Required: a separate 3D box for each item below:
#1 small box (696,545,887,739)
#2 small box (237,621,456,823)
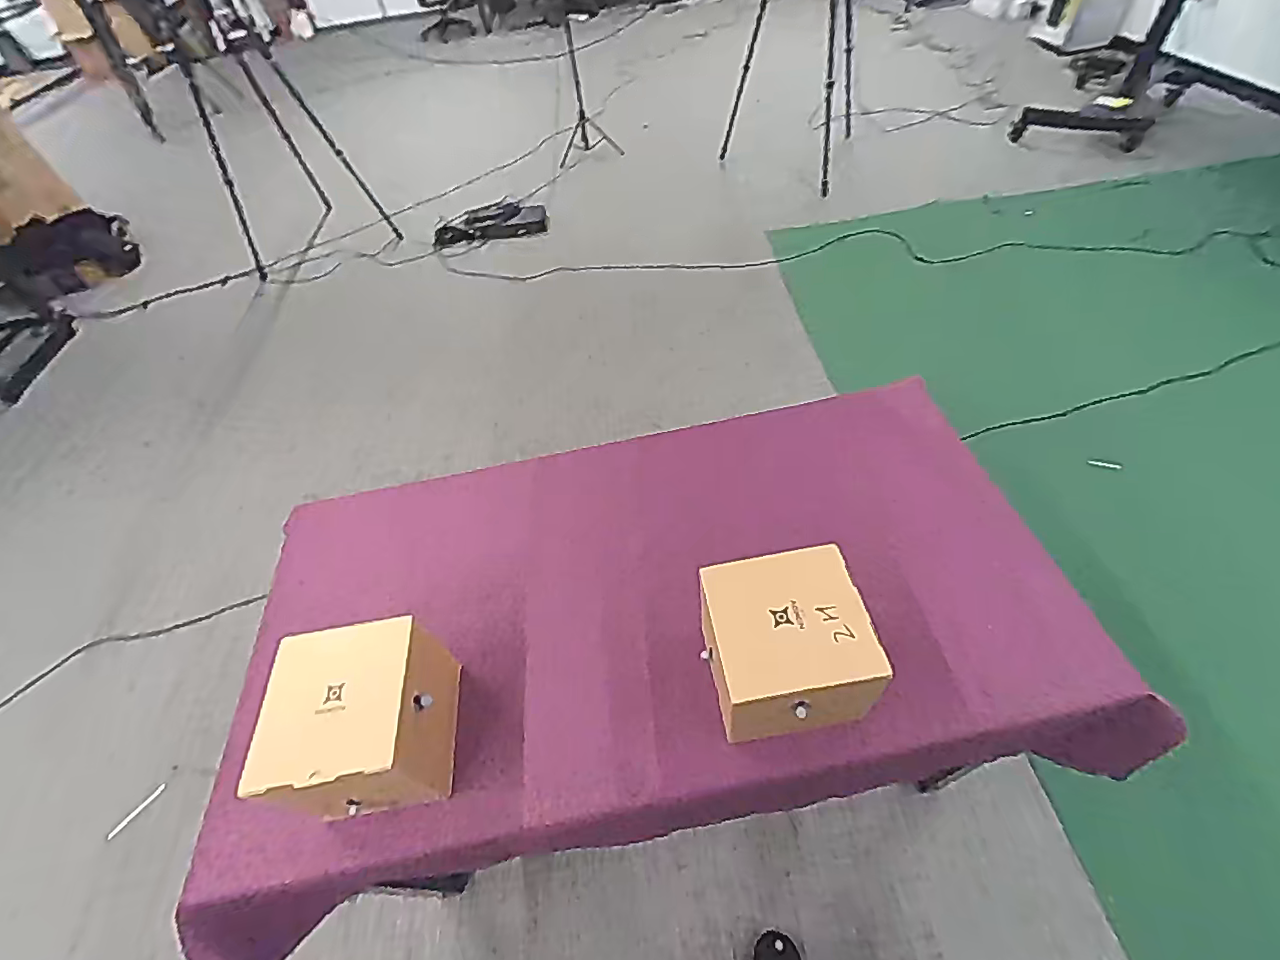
[{"bbox_3d":[0.174,0.207,0.676,0.179,0.176,0.168,-10,51,-1],"label":"small box"},{"bbox_3d":[-0.339,0.302,0.670,0.168,0.176,0.179,-10,52,-1],"label":"small box"}]
